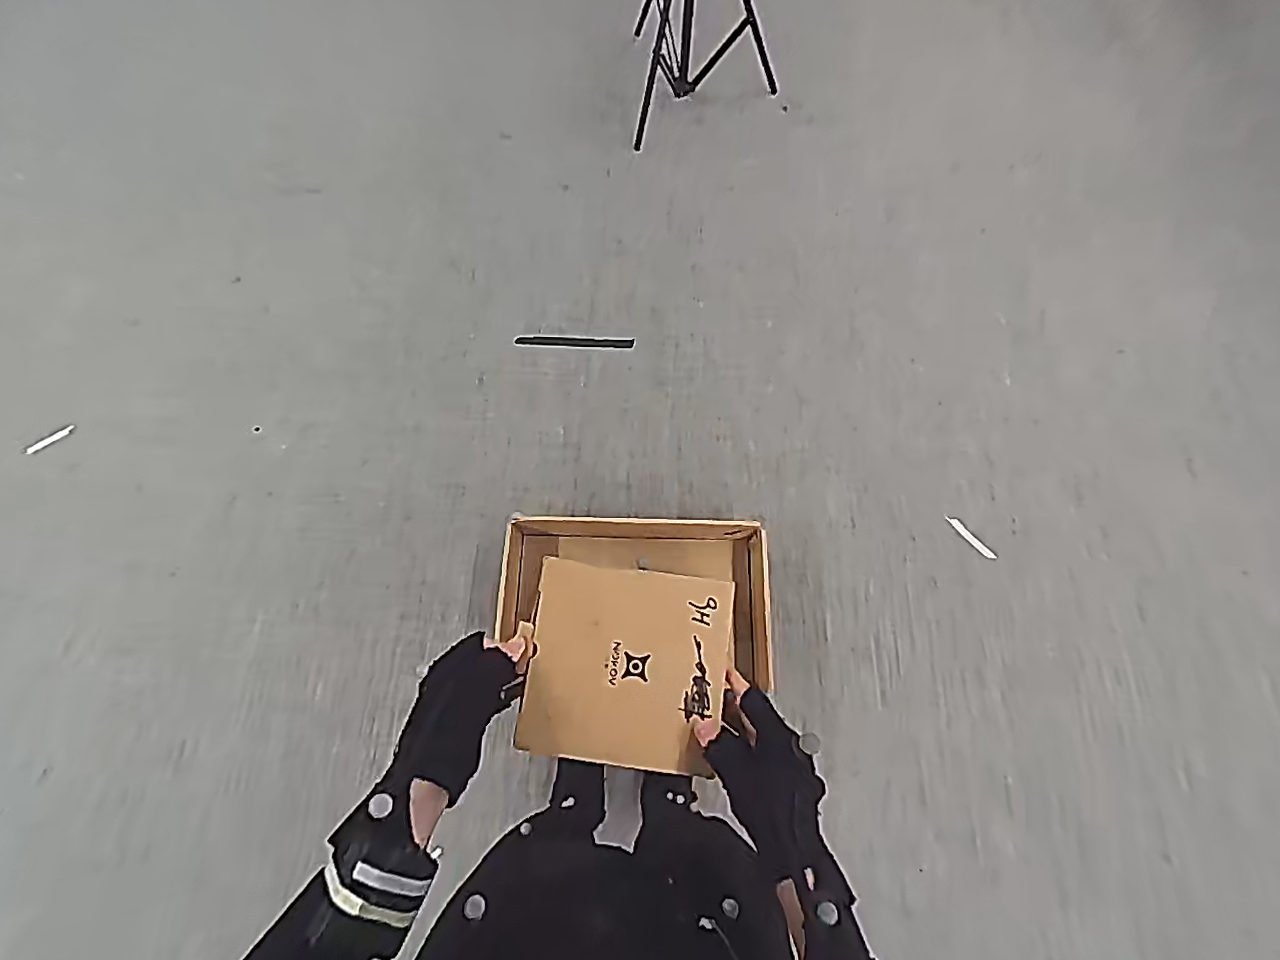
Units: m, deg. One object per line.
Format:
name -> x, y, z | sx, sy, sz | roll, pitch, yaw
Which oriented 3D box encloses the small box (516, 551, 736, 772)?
small box -> -0.007, 0.172, 0.551 | 0.179, 0.176, 0.168 | 7, 78, 4
